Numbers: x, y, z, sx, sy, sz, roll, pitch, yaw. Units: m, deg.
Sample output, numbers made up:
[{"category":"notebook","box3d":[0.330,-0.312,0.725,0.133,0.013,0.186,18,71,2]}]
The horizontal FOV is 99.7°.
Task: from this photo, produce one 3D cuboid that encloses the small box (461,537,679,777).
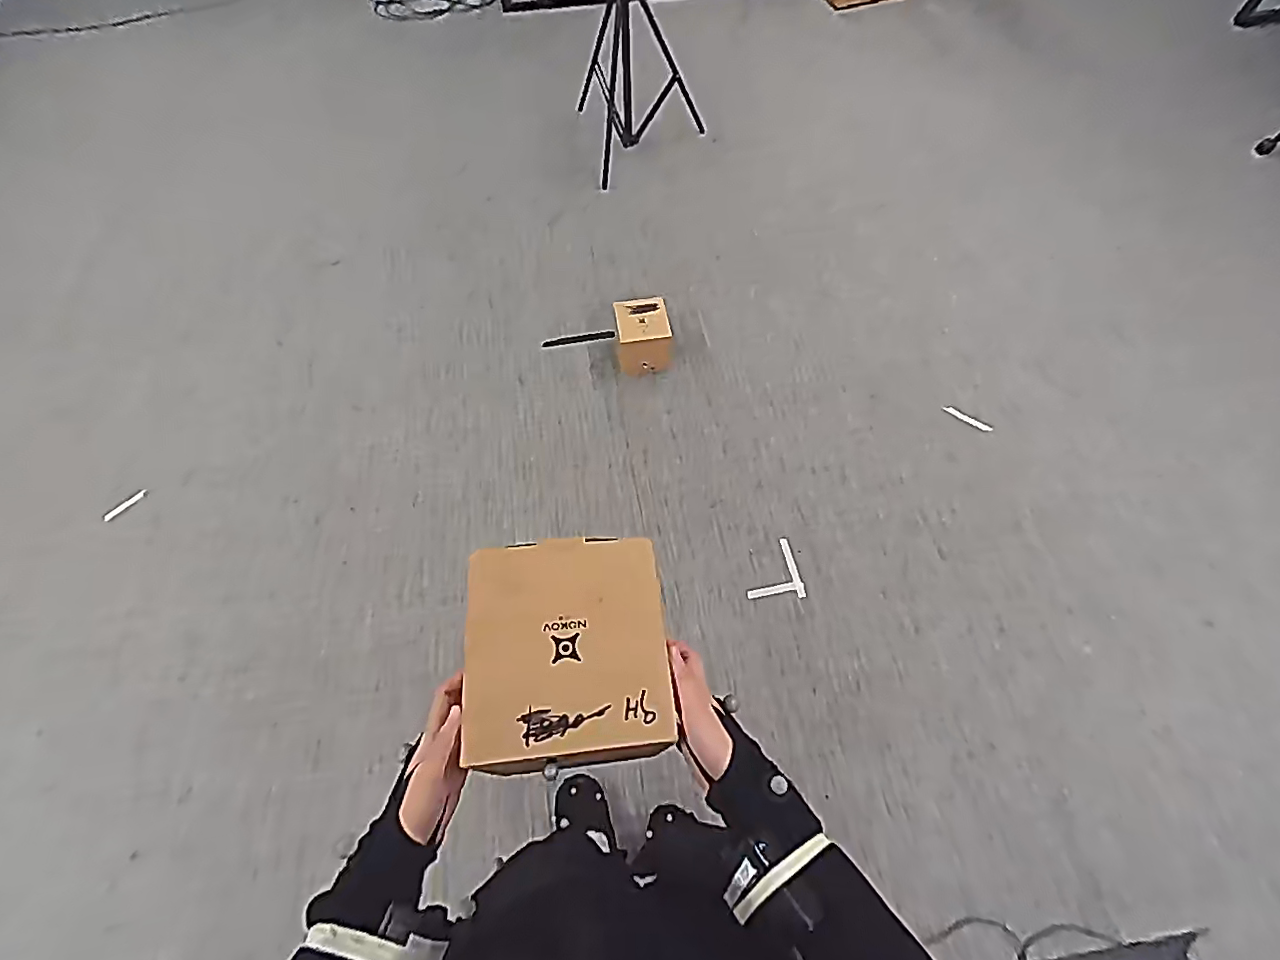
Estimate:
[{"category":"small box","box3d":[-0.066,0.172,0.514,0.168,0.176,0.179,-4,60,-7]}]
